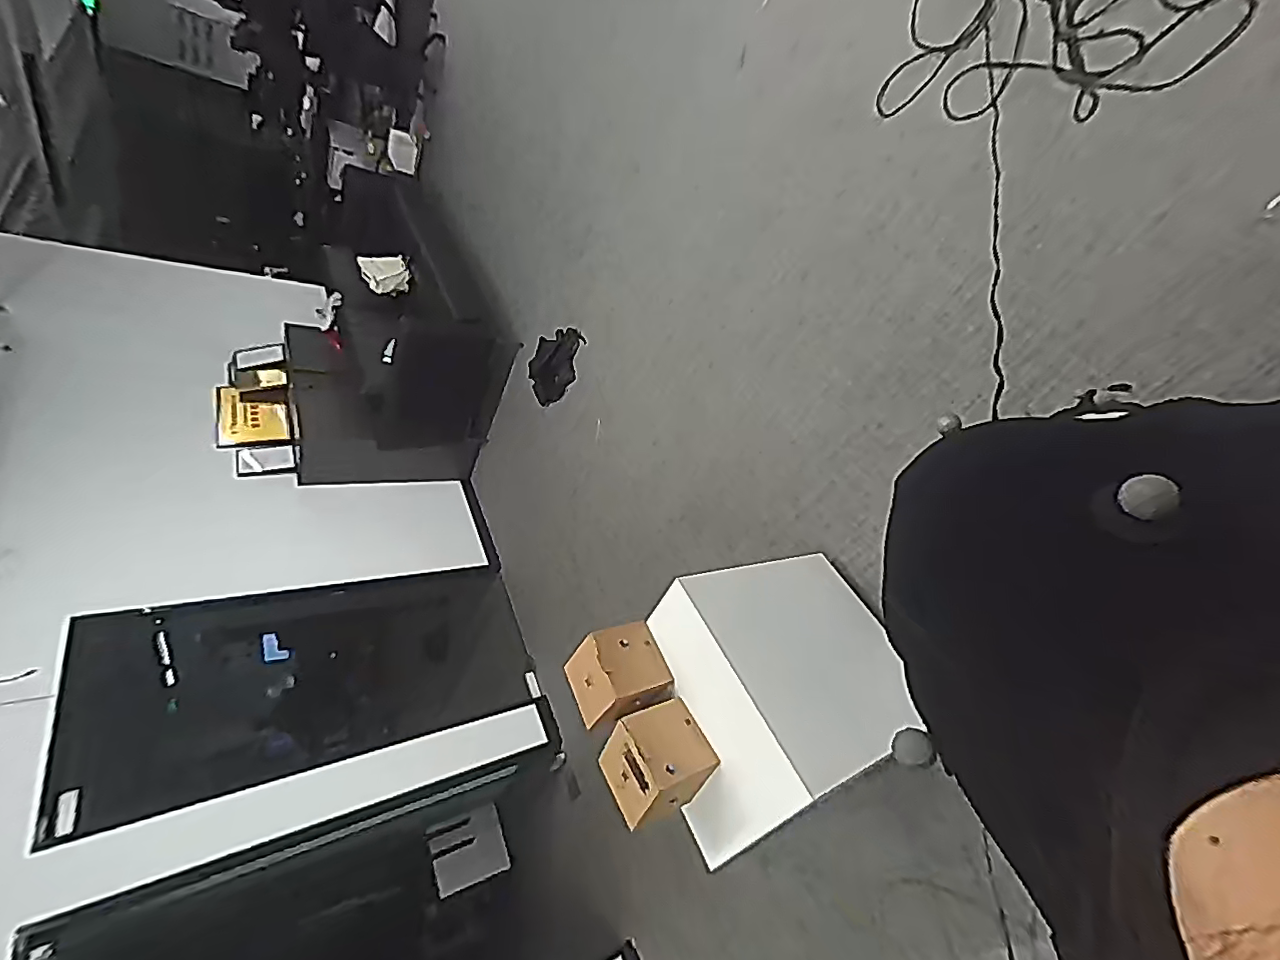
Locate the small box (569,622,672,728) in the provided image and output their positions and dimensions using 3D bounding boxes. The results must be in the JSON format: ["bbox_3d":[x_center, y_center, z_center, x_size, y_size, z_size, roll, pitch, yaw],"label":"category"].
[{"bbox_3d":[-0.044,0.466,1.312,0.179,0.176,0.168,-59,46,37],"label":"small box"}]
